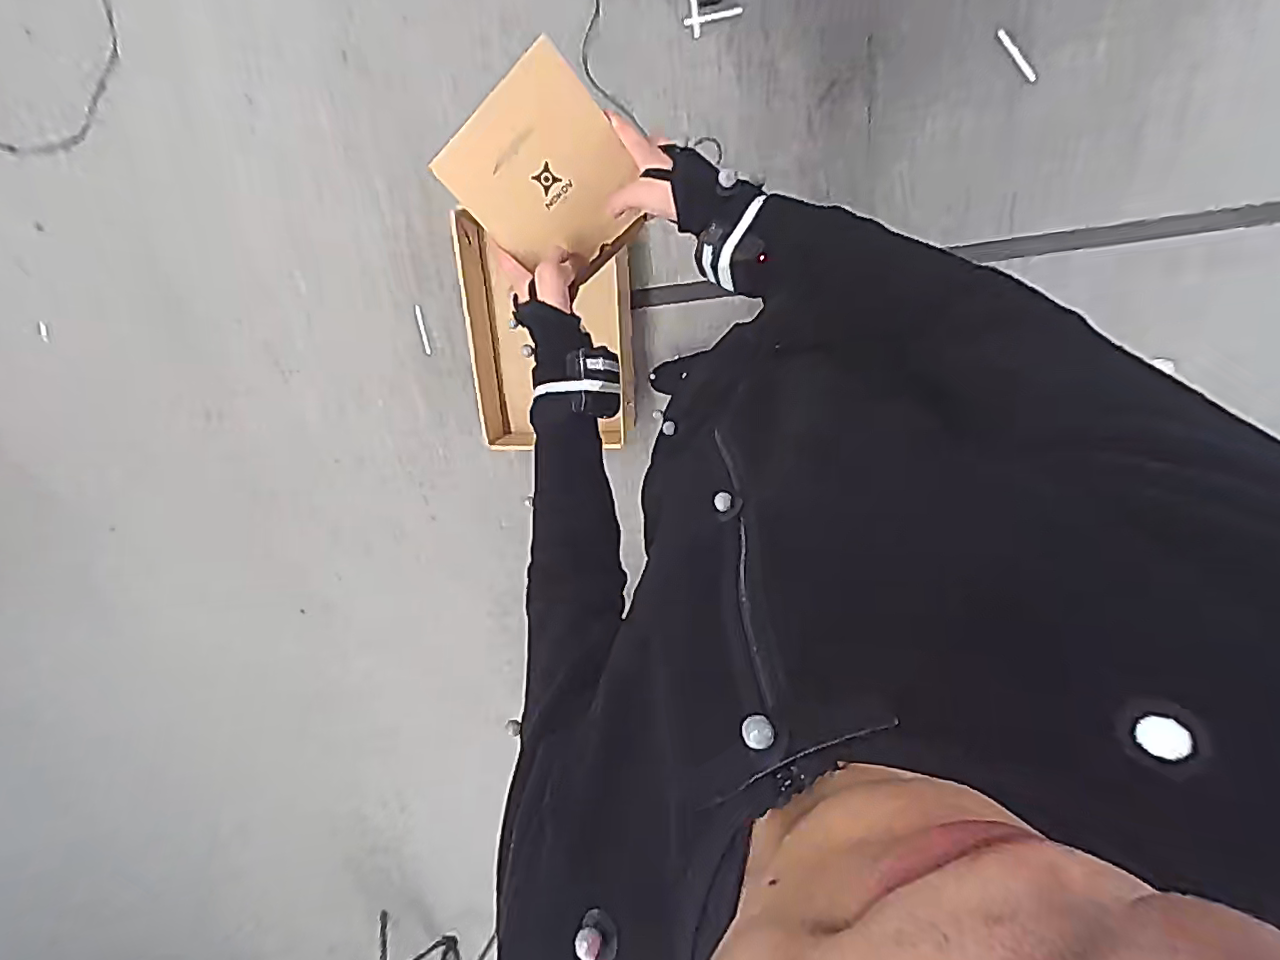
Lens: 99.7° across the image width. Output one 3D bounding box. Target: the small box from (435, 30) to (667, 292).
[{"bbox_3d":[-0.093,-0.351,0.611,0.168,0.176,0.179,-36,120,16],"label":"small box"}]
